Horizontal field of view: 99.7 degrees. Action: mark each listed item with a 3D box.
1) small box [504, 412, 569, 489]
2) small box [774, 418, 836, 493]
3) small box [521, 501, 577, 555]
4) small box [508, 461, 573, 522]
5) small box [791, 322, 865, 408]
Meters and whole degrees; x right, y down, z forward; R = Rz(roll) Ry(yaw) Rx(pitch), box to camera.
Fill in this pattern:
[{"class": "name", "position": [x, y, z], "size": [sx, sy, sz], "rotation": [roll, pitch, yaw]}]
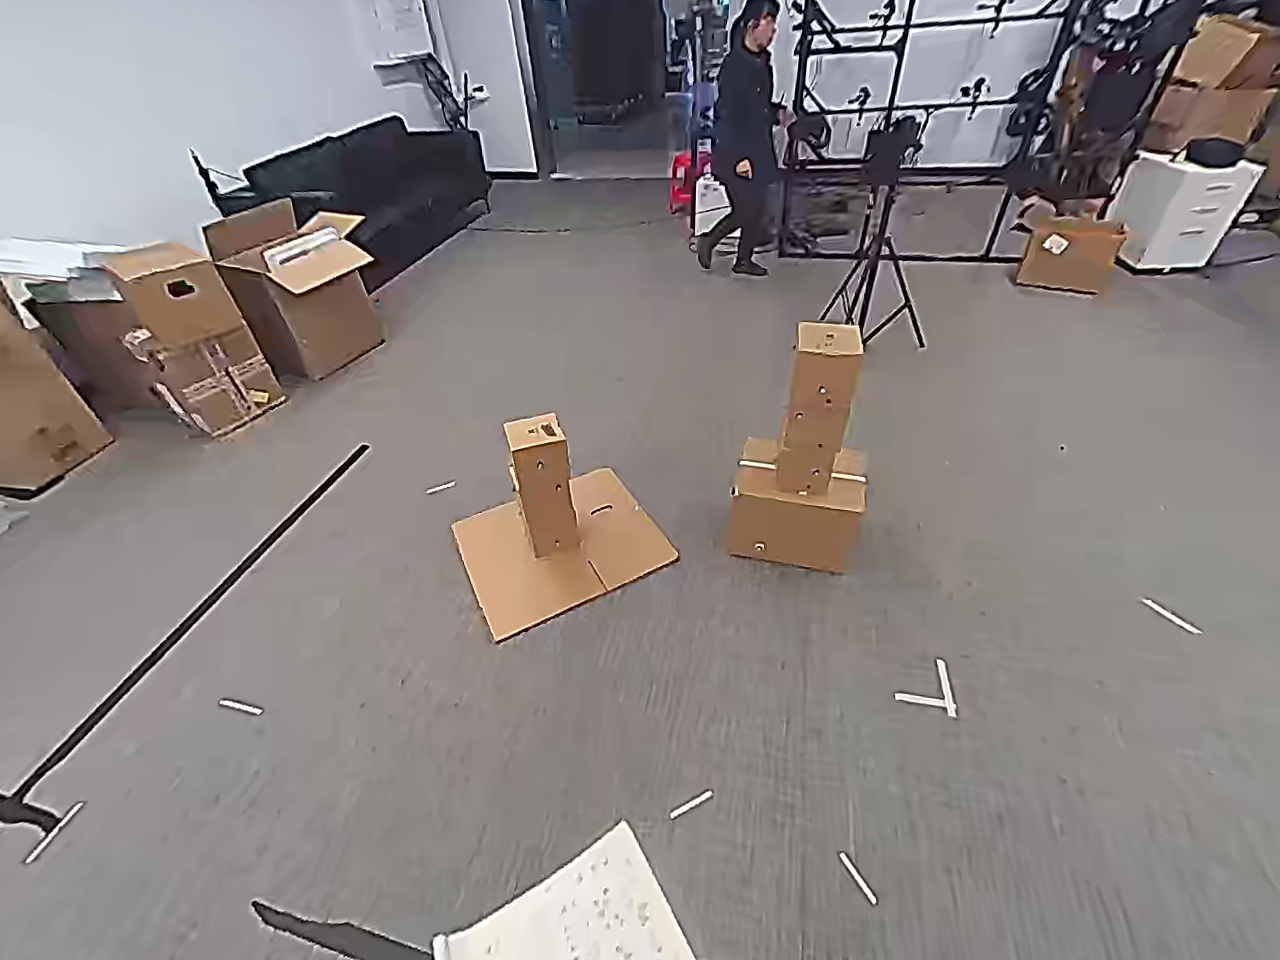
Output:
[{"class": "small box", "position": [-0.335, -0.096, 1.776], "size": [0.179, 0.176, 0.168], "rotation": [-14, 42, -14]}, {"class": "small box", "position": [0.525, -0.077, 1.733], "size": [0.168, 0.176, 0.179], "rotation": [6, 42, 9]}, {"class": "small box", "position": [-0.336, 0.146, 1.996], "size": [0.179, 0.176, 0.168], "rotation": [-17, 43, -17]}, {"class": "small box", "position": [-0.346, 0.024, 1.889], "size": [0.179, 0.176, 0.168], "rotation": [-16, 42, -16]}, {"class": "small box", "position": [0.520, -0.323, 1.513], "size": [0.168, 0.176, 0.179], "rotation": [7, 43, 12]}]
